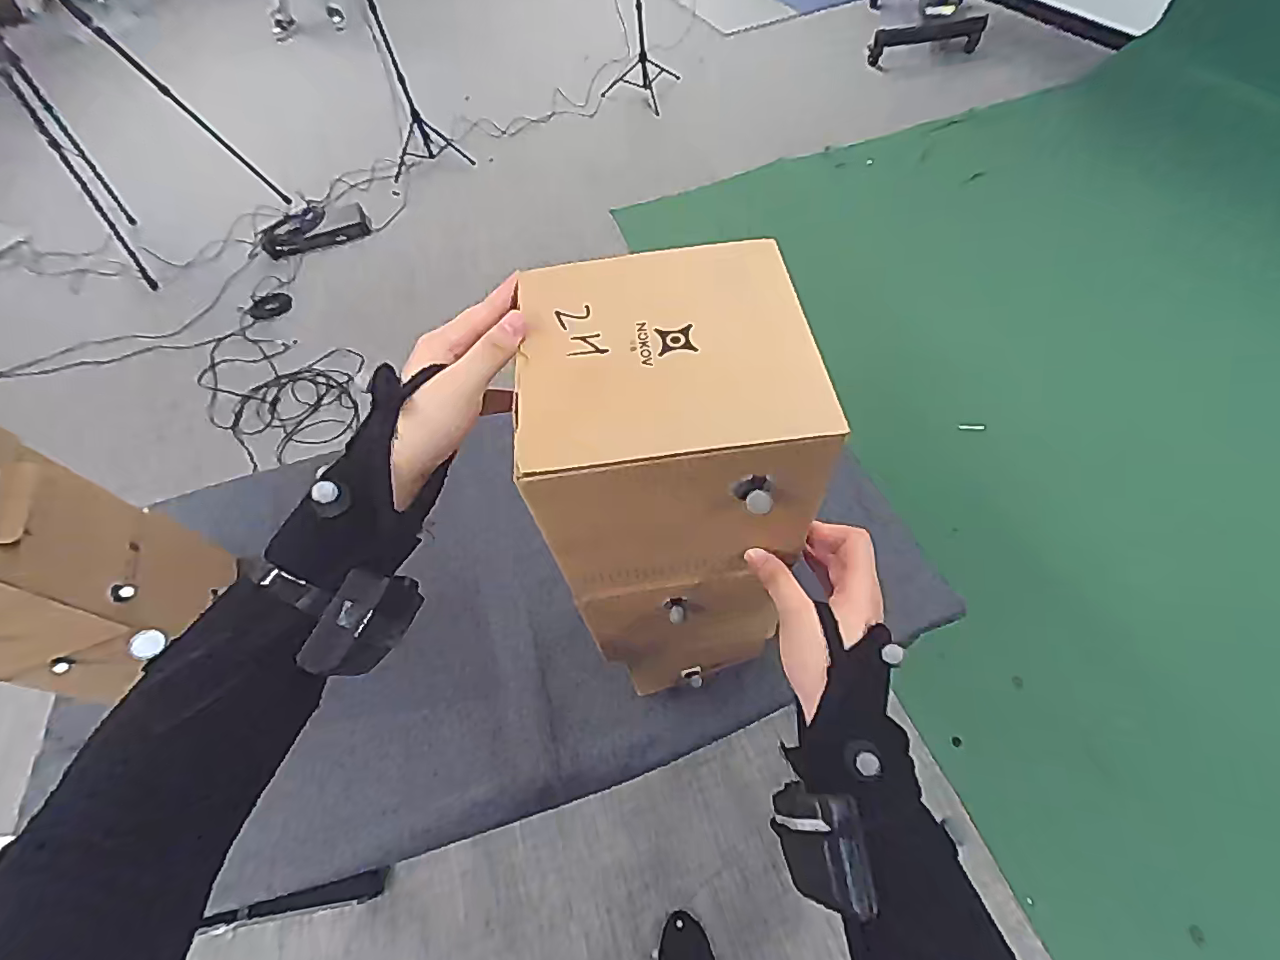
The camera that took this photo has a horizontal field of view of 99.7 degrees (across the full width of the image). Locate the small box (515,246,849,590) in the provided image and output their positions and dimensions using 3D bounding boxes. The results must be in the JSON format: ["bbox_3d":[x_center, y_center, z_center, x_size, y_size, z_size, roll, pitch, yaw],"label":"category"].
[{"bbox_3d":[0.020,-0.034,0.385,0.179,0.176,0.168,-8,57,1],"label":"small box"}]

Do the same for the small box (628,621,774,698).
[{"bbox_3d":[0.048,0.142,0.668,0.168,0.176,0.179,-18,56,-4],"label":"small box"}]

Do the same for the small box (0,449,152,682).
[{"bbox_3d":[-0.691,0.100,0.589,0.179,0.176,0.168,-21,58,-7],"label":"small box"}]

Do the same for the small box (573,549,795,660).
[{"bbox_3d":[0.035,0.062,0.526,0.179,0.176,0.168,-10,55,2],"label":"small box"}]

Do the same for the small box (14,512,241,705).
[{"bbox_3d":[-0.683,0.178,0.735,0.168,0.176,0.179,-21,57,-8],"label":"small box"}]
